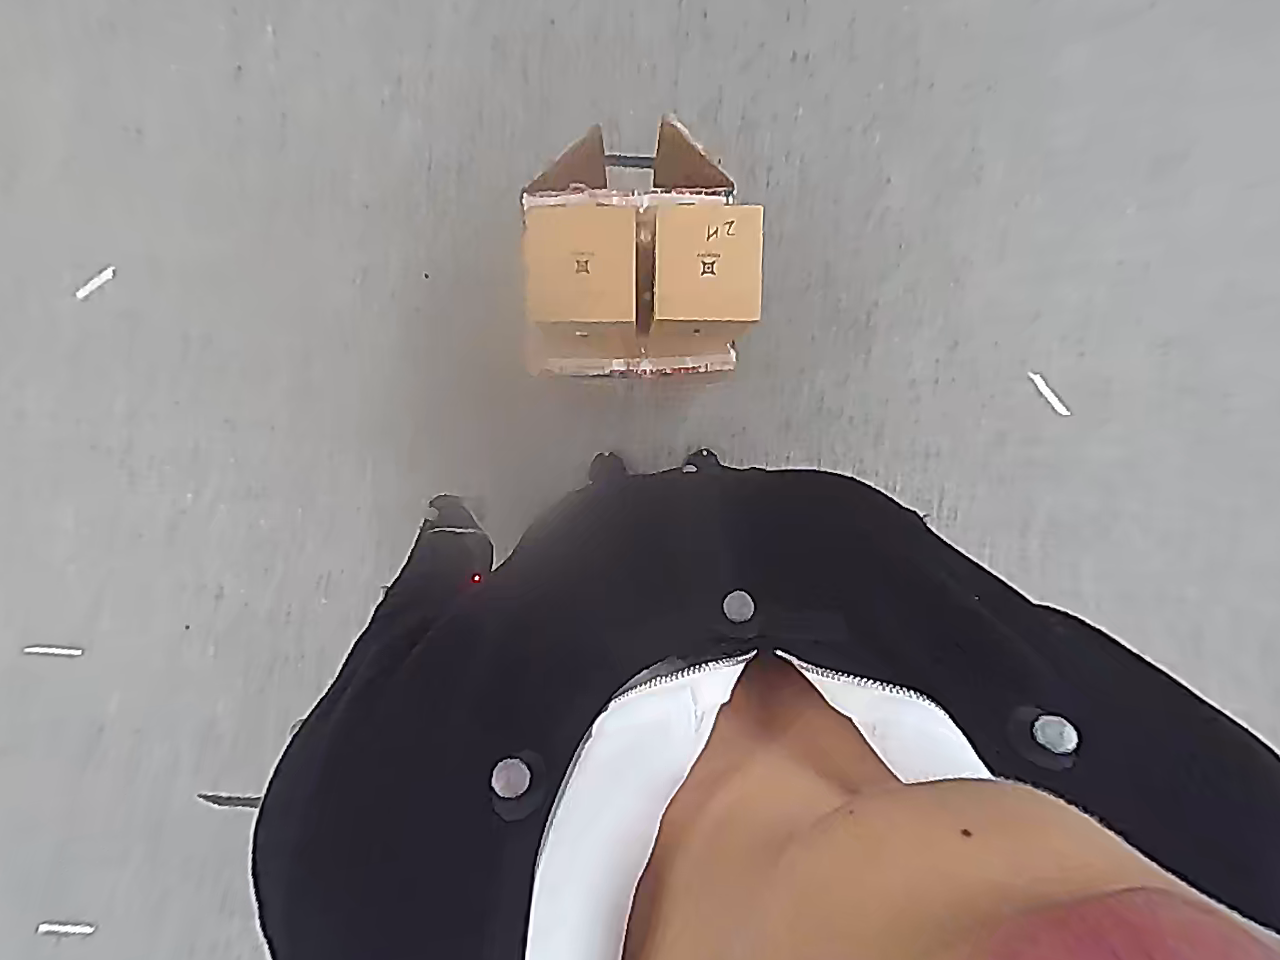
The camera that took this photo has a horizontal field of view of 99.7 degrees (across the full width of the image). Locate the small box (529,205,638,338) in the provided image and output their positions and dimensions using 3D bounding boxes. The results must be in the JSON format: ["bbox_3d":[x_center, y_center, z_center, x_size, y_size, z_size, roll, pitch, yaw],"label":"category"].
[{"bbox_3d":[-0.087,-0.340,0.908,0.168,0.176,0.179,-1,97,1],"label":"small box"}]

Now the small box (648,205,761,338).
[{"bbox_3d":[0.101,-0.339,0.911,0.168,0.176,0.179,0,95,-2],"label":"small box"}]
